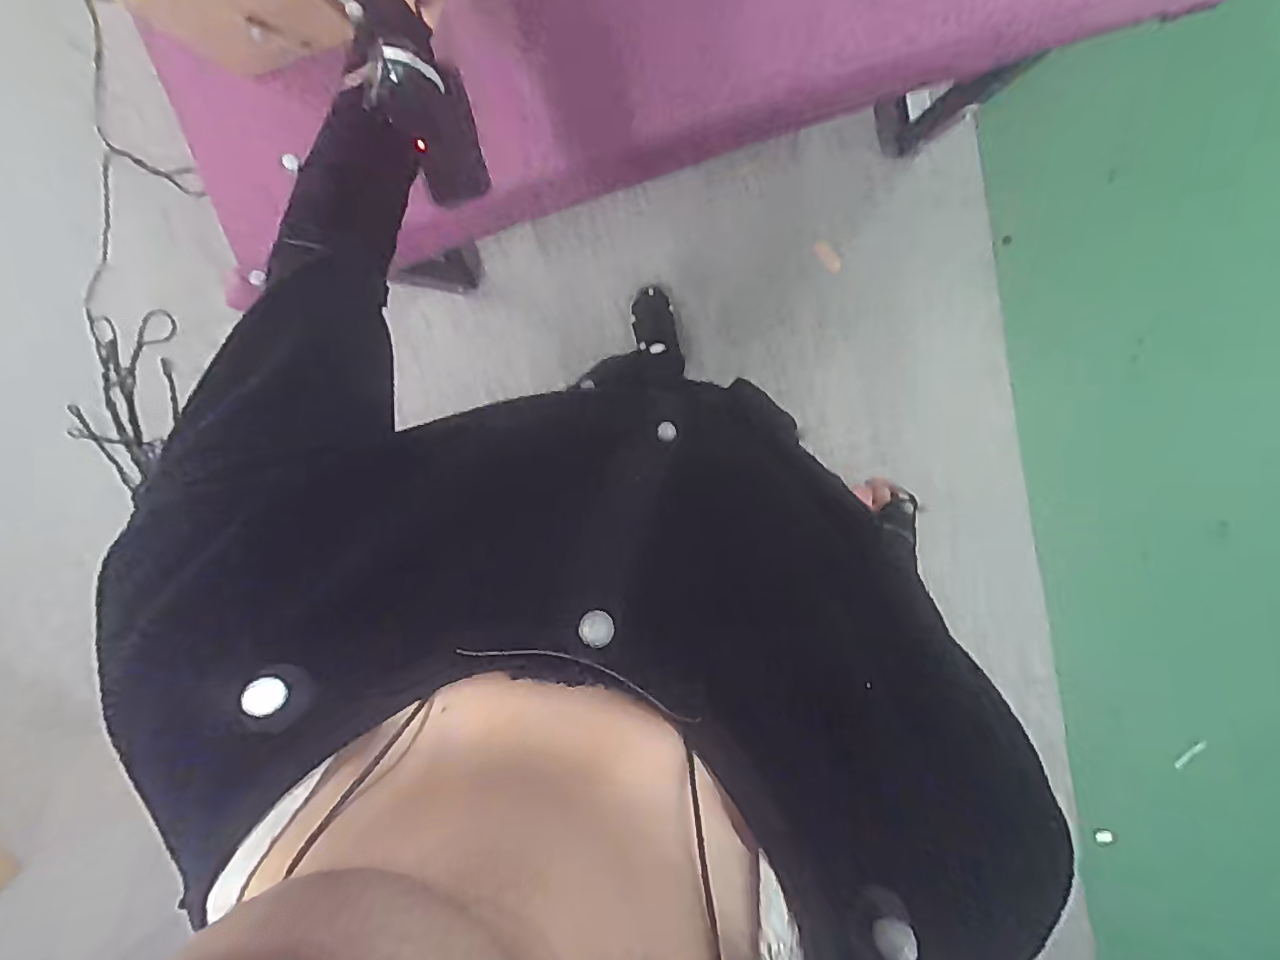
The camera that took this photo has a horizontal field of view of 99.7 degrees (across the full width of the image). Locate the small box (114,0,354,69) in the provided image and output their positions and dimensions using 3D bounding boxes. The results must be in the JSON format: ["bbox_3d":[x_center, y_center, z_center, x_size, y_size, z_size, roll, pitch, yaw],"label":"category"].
[{"bbox_3d":[-0.439,-0.572,0.565,0.168,0.176,0.179,-13,104,7],"label":"small box"}]
